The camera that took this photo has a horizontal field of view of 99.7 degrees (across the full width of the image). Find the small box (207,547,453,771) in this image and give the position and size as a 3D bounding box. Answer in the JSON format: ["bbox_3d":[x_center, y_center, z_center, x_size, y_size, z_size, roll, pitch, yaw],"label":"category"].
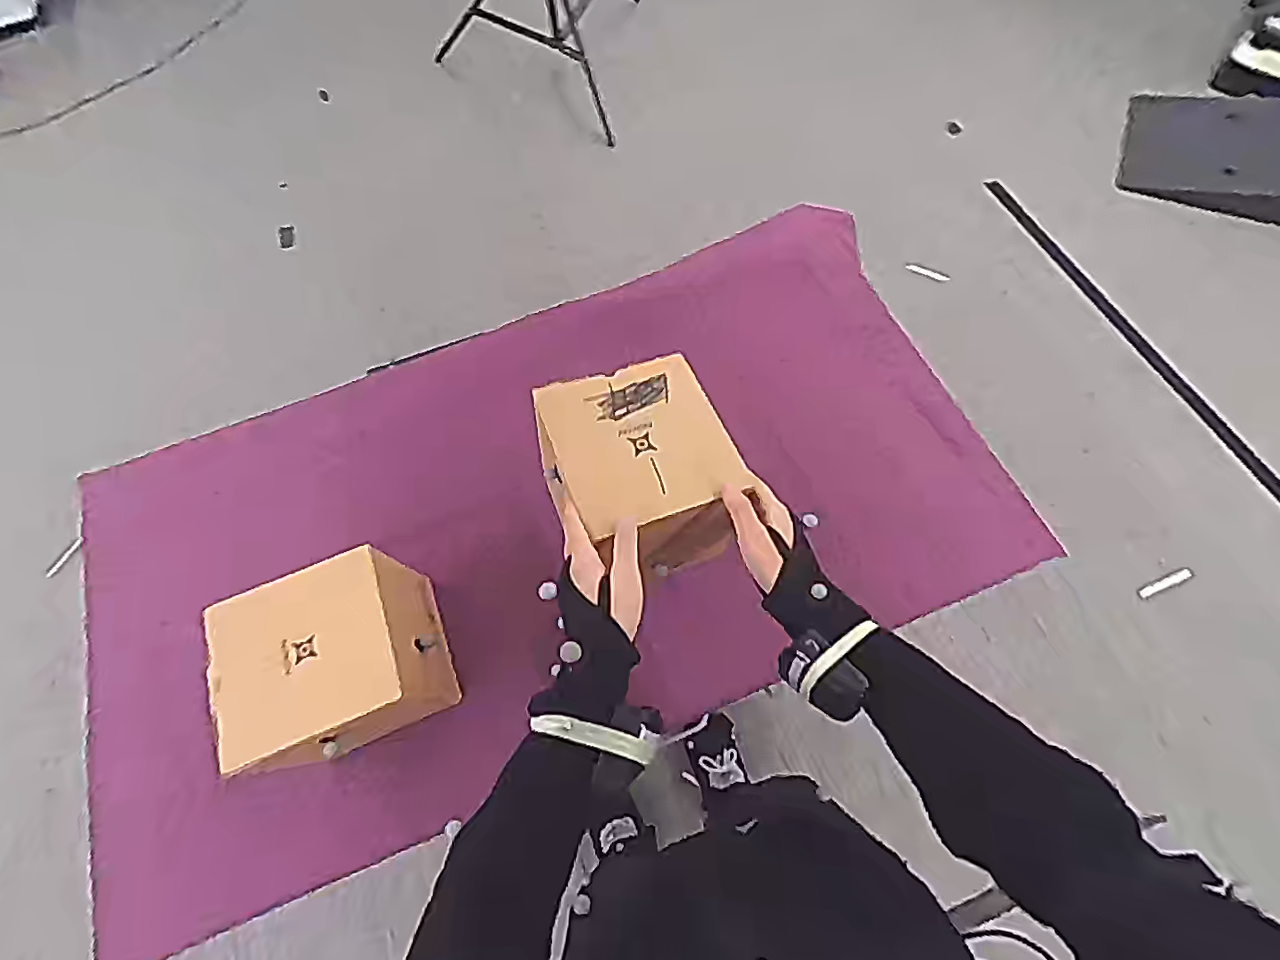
[{"bbox_3d":[-0.330,0.197,0.609,0.179,0.176,0.168,-22,69,-6],"label":"small box"}]

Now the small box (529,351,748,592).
[{"bbox_3d":[-0.013,-0.004,0.582,0.168,0.176,0.179,-17,65,-14],"label":"small box"}]
